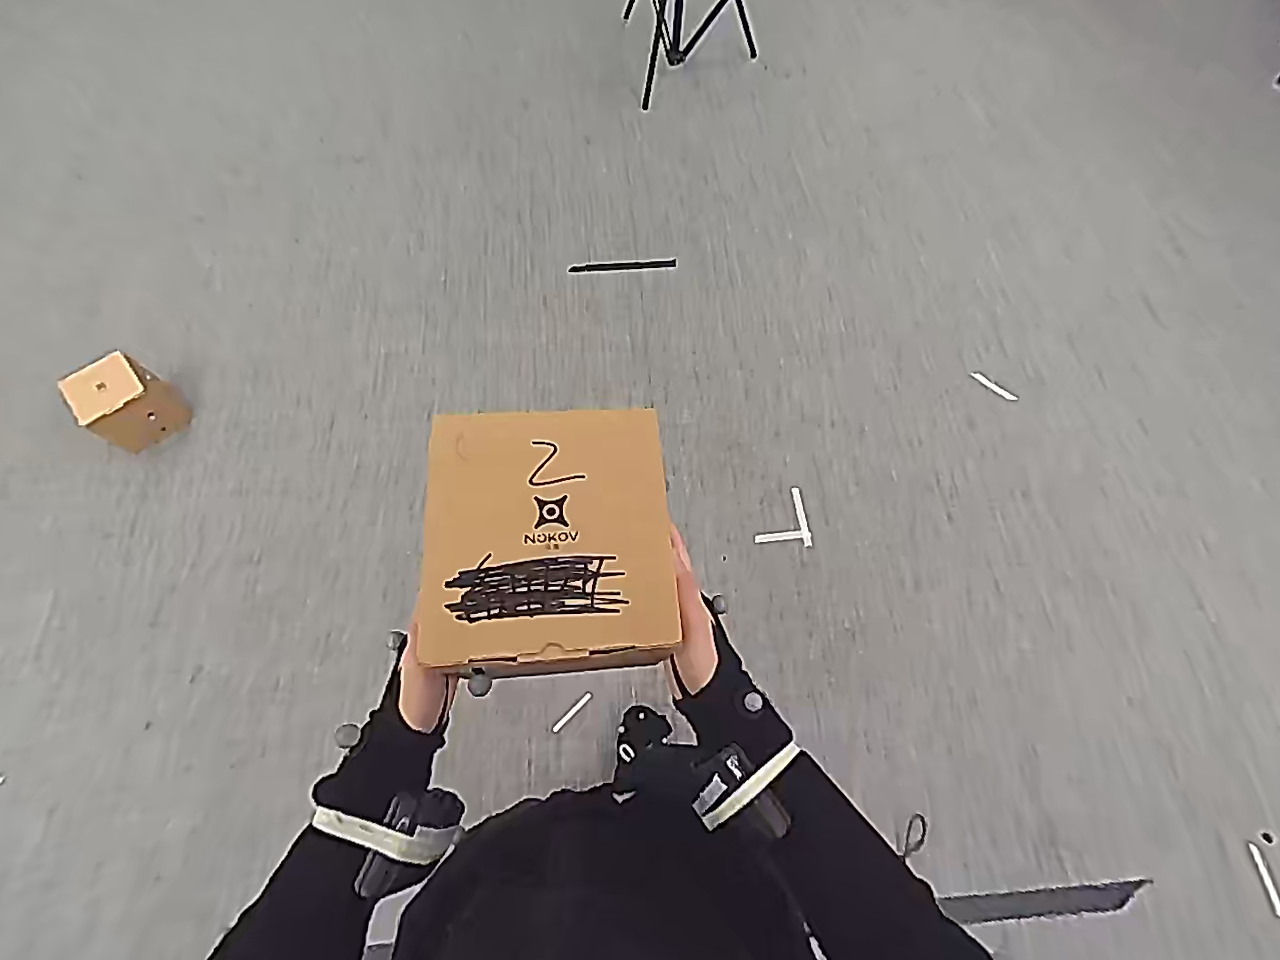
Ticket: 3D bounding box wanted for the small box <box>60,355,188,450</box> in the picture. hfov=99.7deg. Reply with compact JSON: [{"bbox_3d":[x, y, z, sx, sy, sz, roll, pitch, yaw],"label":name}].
[{"bbox_3d":[-1.422,-0.205,1.504,0.168,0.176,0.179,-39,73,-17],"label":"small box"}]
